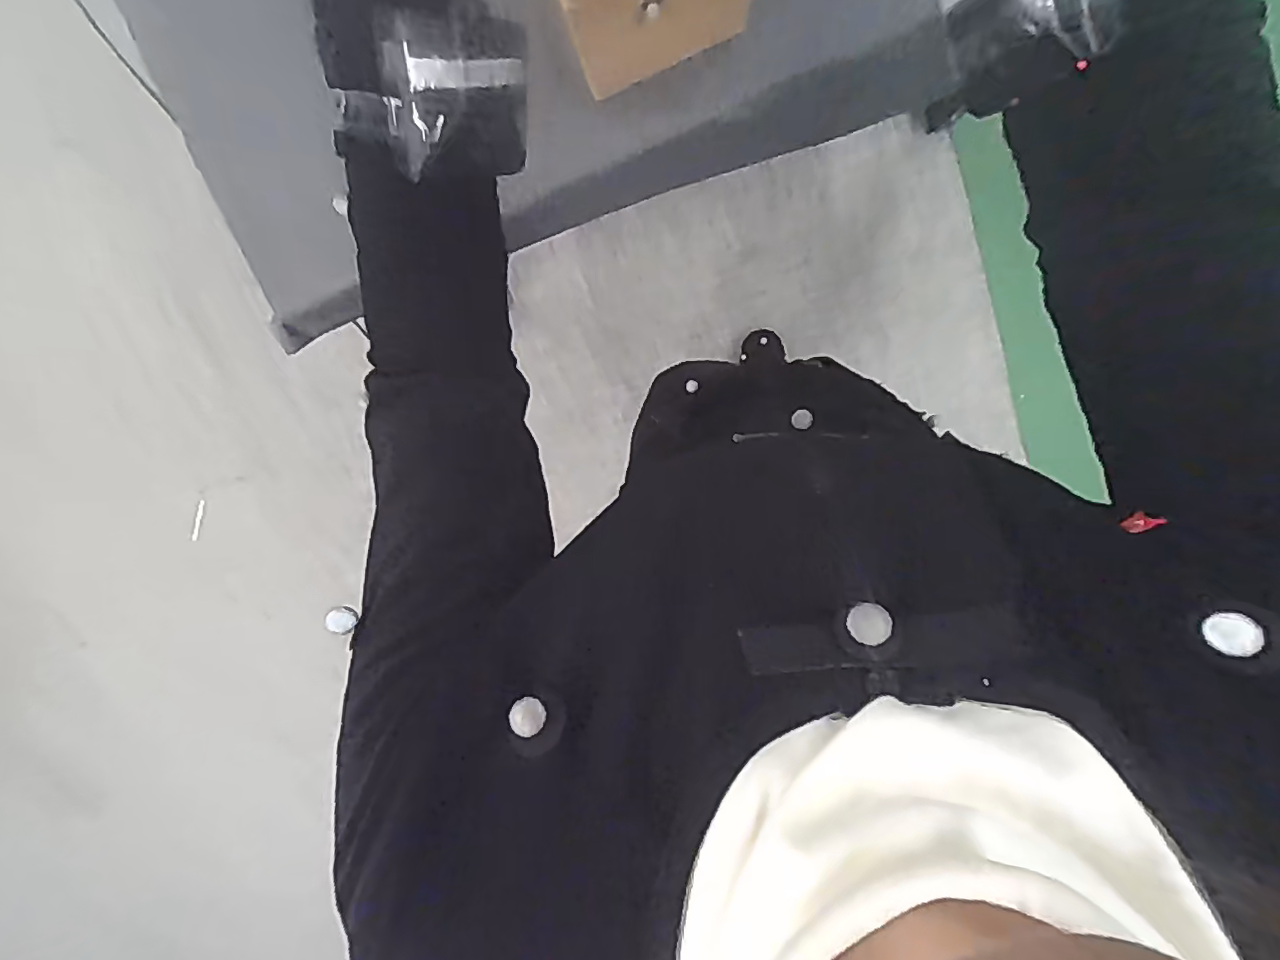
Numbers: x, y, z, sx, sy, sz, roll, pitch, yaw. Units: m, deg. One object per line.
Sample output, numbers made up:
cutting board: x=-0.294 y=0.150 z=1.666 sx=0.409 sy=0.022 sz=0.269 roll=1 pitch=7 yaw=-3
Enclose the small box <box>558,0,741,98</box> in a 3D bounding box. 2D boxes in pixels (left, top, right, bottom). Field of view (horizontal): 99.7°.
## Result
small box: x=-0.003 y=-0.519 z=0.524 sx=0.179 sy=0.176 sz=0.168 roll=-20 pitch=101 yaw=9
